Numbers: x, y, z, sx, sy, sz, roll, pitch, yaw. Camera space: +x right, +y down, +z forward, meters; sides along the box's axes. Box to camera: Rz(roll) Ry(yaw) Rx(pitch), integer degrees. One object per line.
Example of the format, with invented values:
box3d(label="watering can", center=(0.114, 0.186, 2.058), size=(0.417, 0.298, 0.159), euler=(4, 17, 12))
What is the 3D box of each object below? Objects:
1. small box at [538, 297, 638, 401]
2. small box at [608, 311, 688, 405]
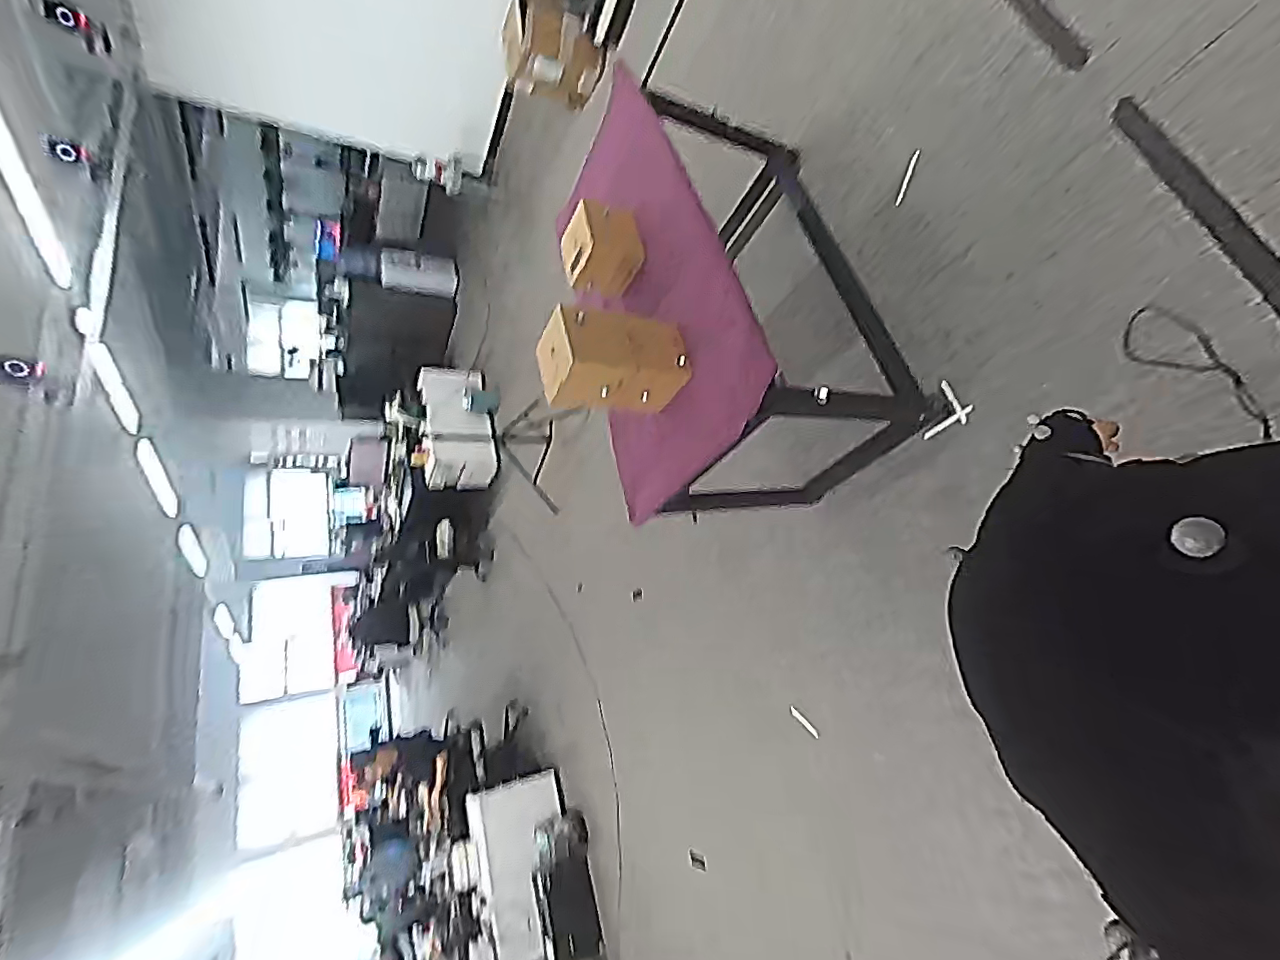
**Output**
box3d(label="small box", center=(-0.127, -0.306, 1.302), size=(0.168, 0.176, 0.179), euler=(-45, 54, 49))
box3d(label="small box", center=(0.008, -0.308, 1.396), size=(0.179, 0.176, 0.168), euler=(-45, 54, 50))
